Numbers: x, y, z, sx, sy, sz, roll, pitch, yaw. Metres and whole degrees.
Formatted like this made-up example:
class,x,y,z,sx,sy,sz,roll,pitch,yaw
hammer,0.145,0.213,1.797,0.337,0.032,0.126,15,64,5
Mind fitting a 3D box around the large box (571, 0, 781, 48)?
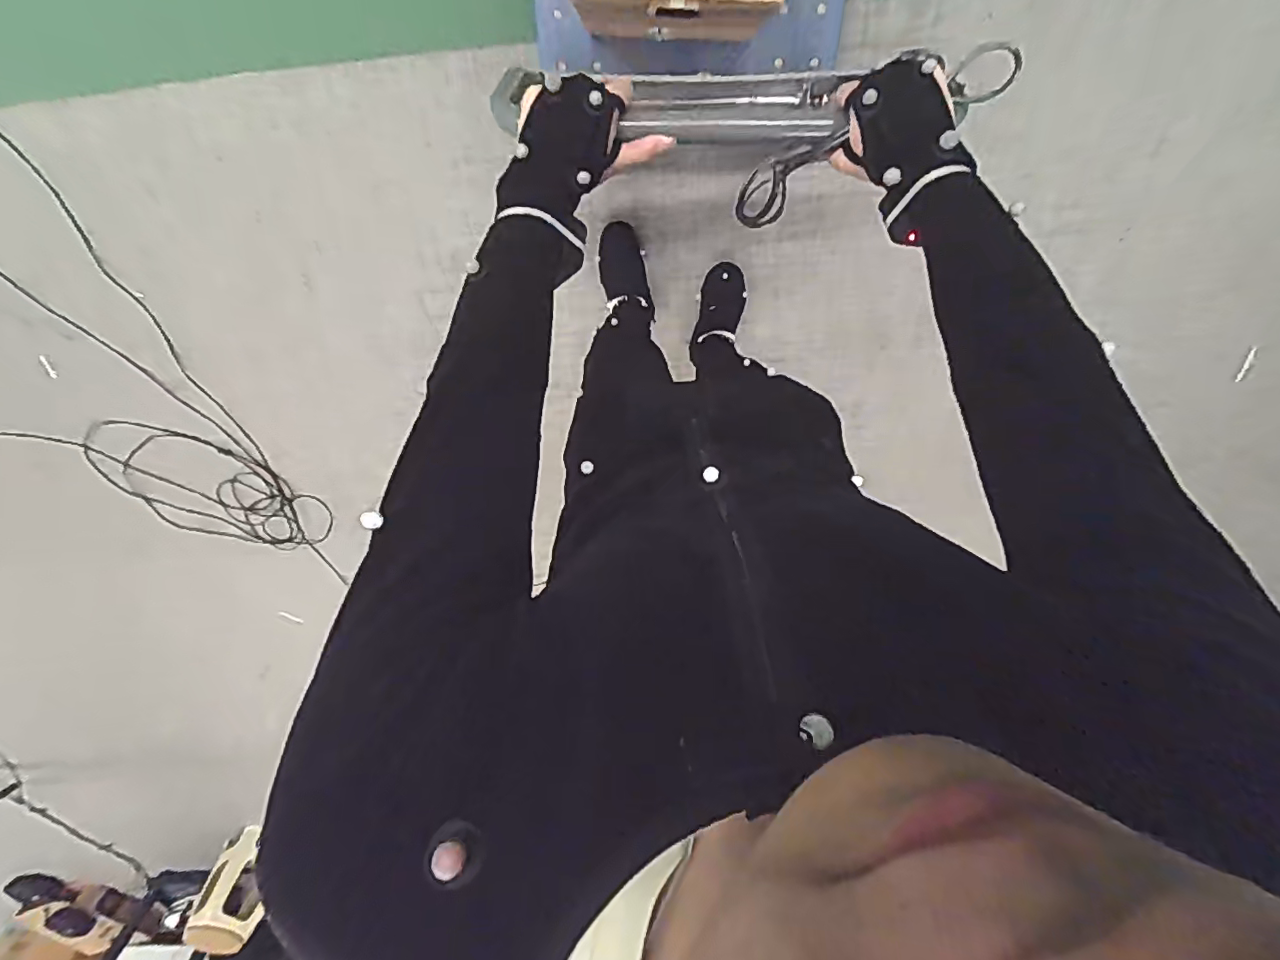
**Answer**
class,x,y,z,sx,sy,sz,roll,pitch,yaw
large box,0.058,-0.925,0.809,0.320,0.320,0.408,2,120,-1
